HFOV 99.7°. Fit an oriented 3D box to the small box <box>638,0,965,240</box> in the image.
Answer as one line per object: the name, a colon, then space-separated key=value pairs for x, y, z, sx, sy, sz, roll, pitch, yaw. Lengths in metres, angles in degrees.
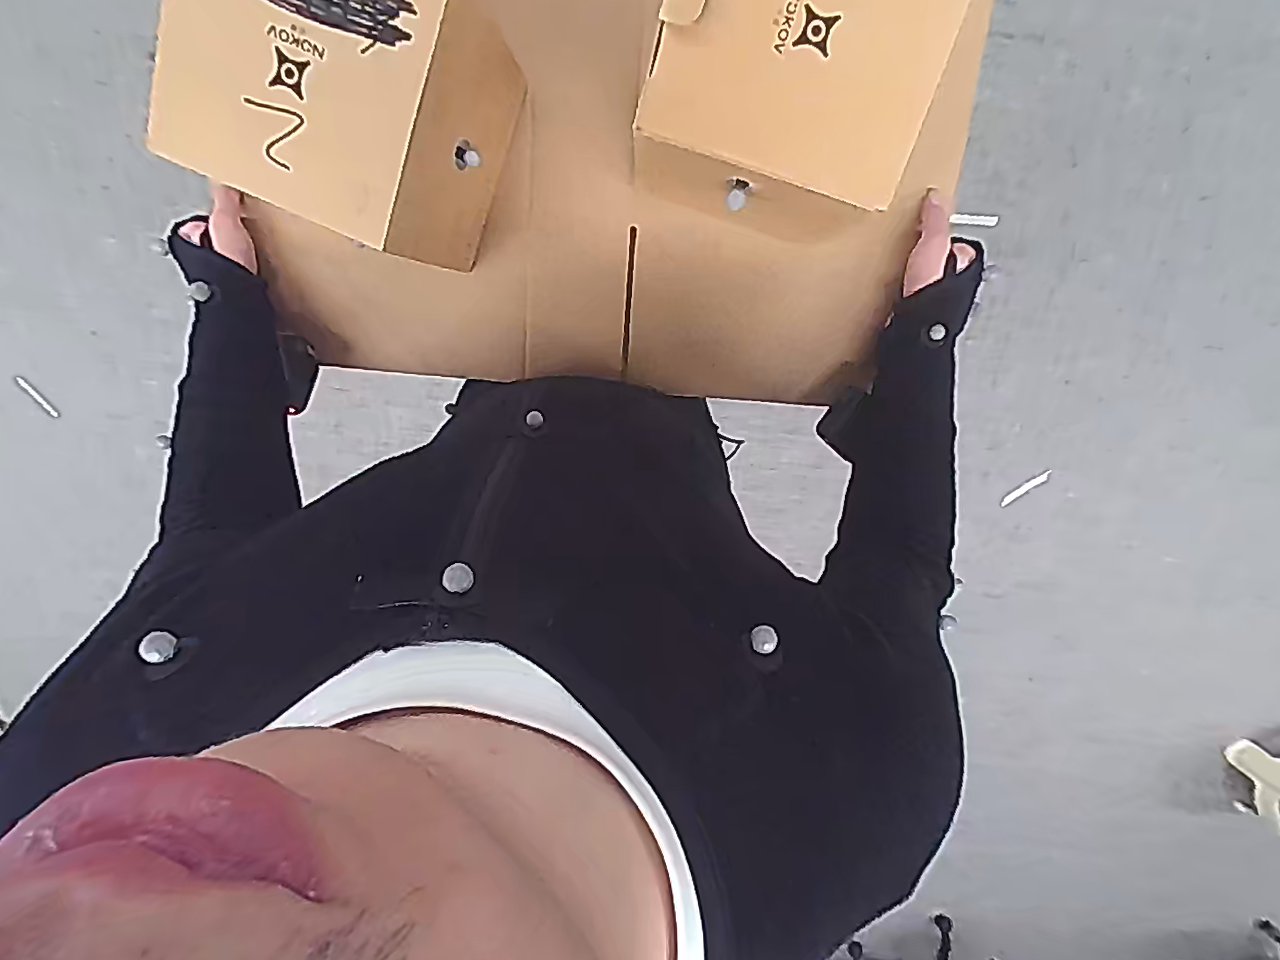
small box: x=0.107 y=-0.300 z=0.419 sx=0.179 sy=0.176 sz=0.168 roll=17 pitch=105 yaw=-2
